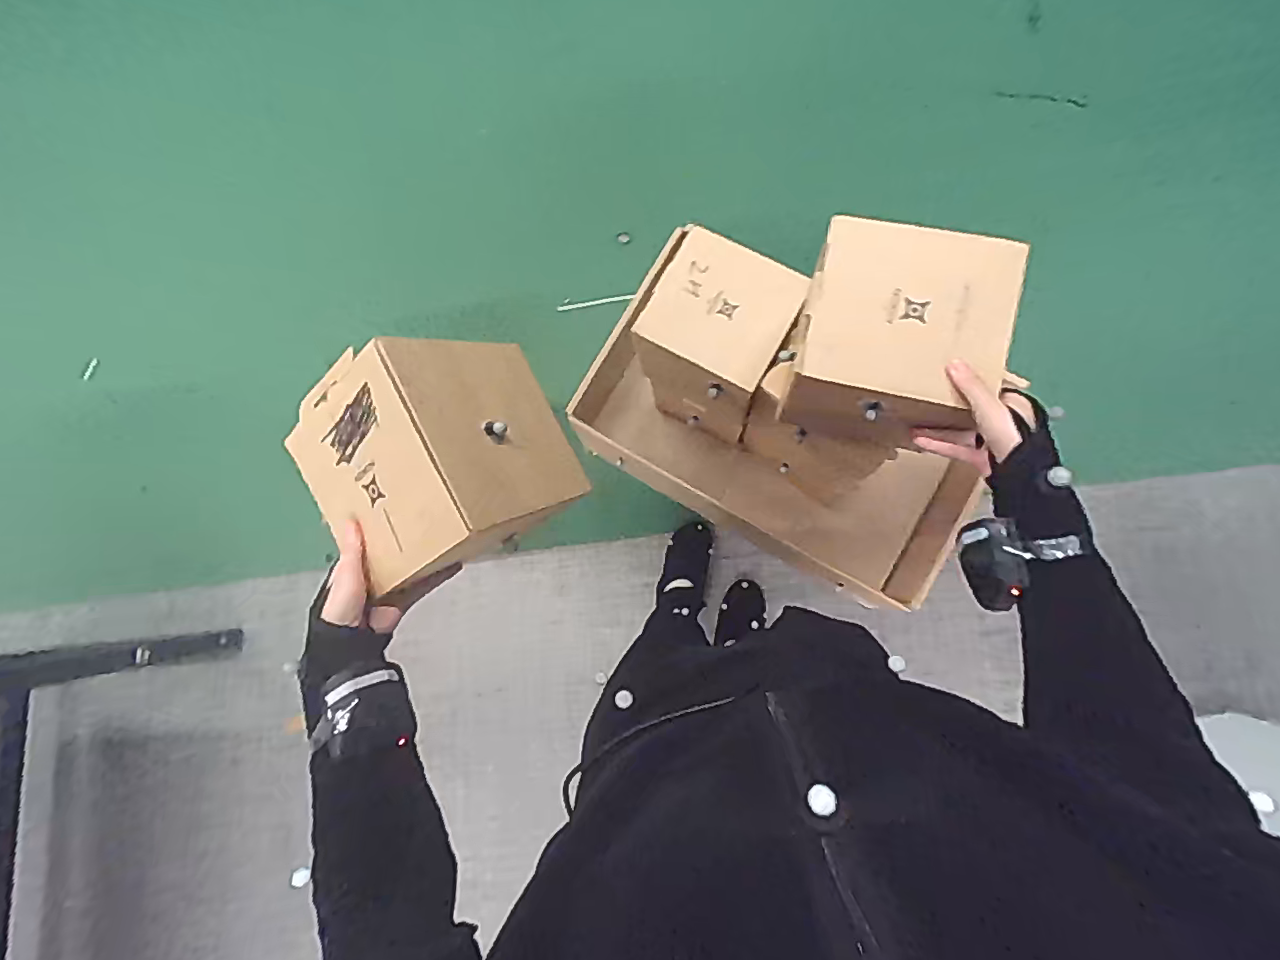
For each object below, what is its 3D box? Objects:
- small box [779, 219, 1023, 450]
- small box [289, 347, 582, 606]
[{"bbox_3d":[0.255,-0.140,0.572,0.179,0.176,0.168,15,83,11],"label":"small box"},{"bbox_3d":[-0.191,-0.008,0.530,0.168,0.176,0.179,-32,84,30],"label":"small box"}]
